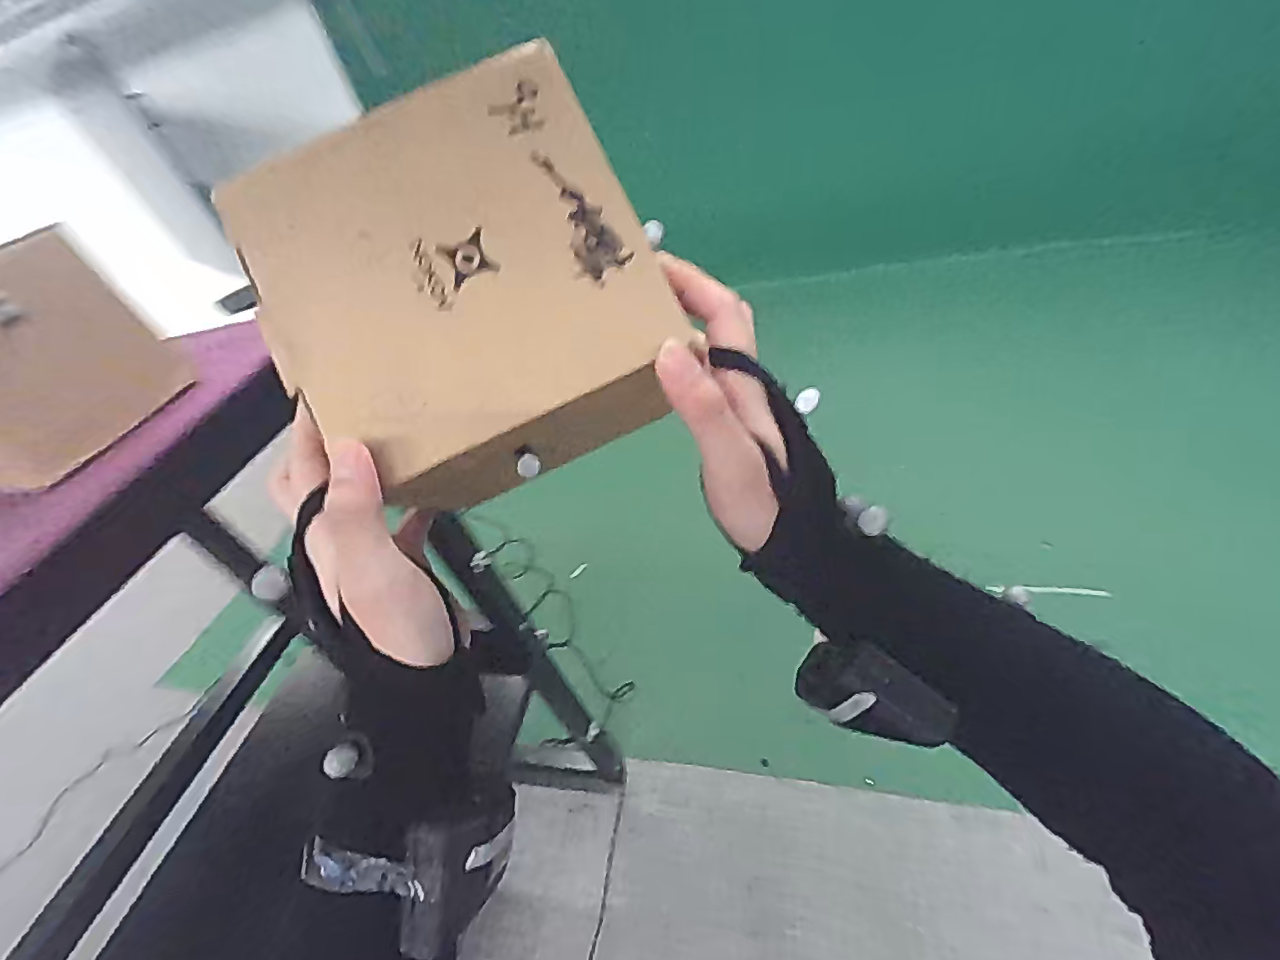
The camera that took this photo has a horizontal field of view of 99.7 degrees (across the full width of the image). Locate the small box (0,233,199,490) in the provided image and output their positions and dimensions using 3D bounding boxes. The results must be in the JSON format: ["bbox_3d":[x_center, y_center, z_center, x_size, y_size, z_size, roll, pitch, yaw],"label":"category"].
[{"bbox_3d":[-0.591,-0.103,0.513,0.168,0.176,0.179,-1,44,20],"label":"small box"}]
